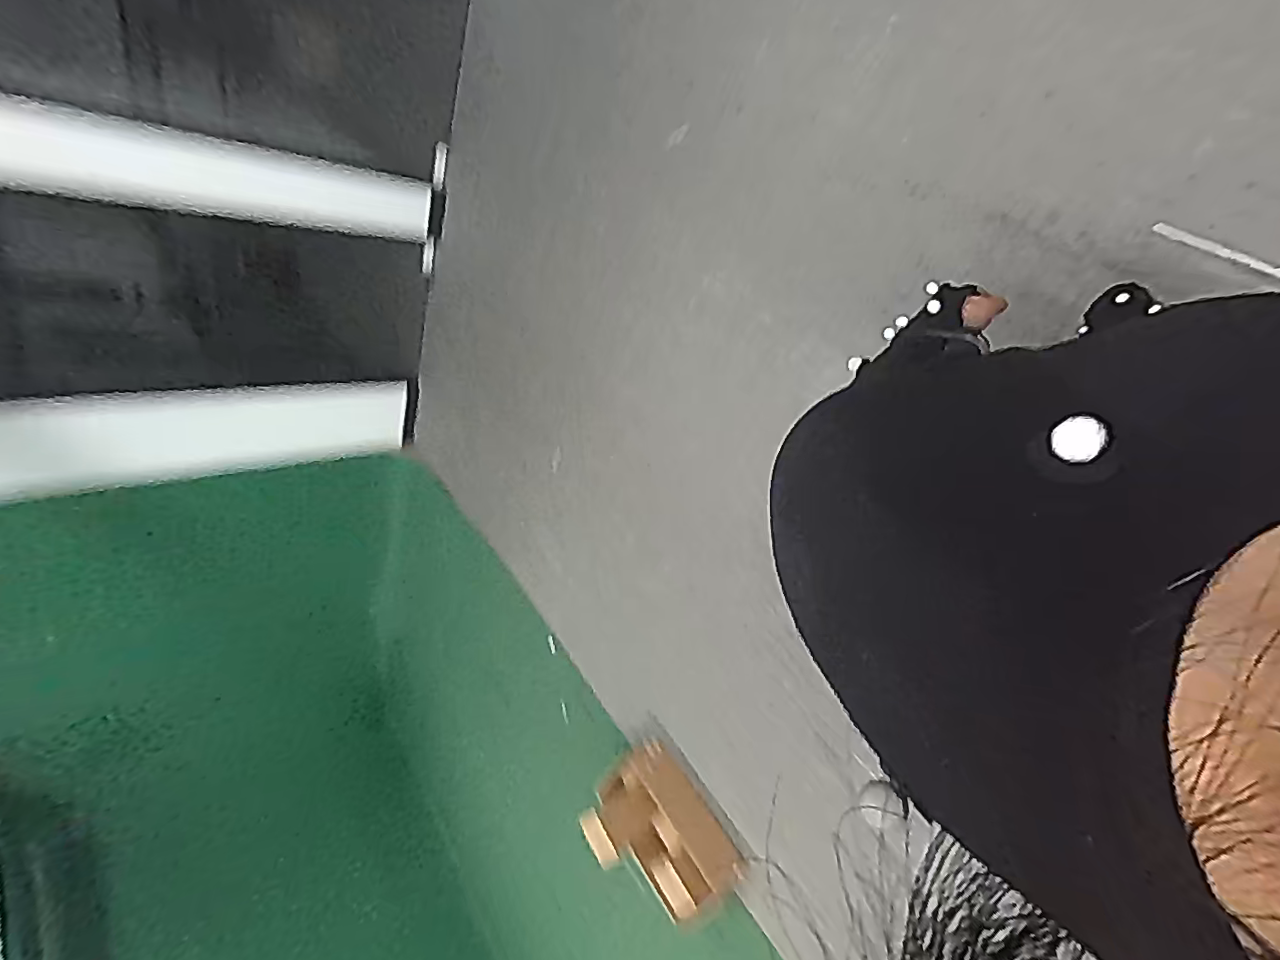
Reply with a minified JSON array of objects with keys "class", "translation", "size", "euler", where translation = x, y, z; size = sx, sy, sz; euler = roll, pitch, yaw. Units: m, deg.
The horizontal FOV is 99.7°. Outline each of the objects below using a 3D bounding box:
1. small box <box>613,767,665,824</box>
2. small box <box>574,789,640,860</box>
[{"class":"small box","translation":[-0.022,1.387,2.345],"size":[0.168,0.176,0.179],"euler":[53,129,22]},{"class":"small box","translation":[-0.135,1.410,2.227],"size":[0.179,0.176,0.168],"euler":[54,131,21]}]
